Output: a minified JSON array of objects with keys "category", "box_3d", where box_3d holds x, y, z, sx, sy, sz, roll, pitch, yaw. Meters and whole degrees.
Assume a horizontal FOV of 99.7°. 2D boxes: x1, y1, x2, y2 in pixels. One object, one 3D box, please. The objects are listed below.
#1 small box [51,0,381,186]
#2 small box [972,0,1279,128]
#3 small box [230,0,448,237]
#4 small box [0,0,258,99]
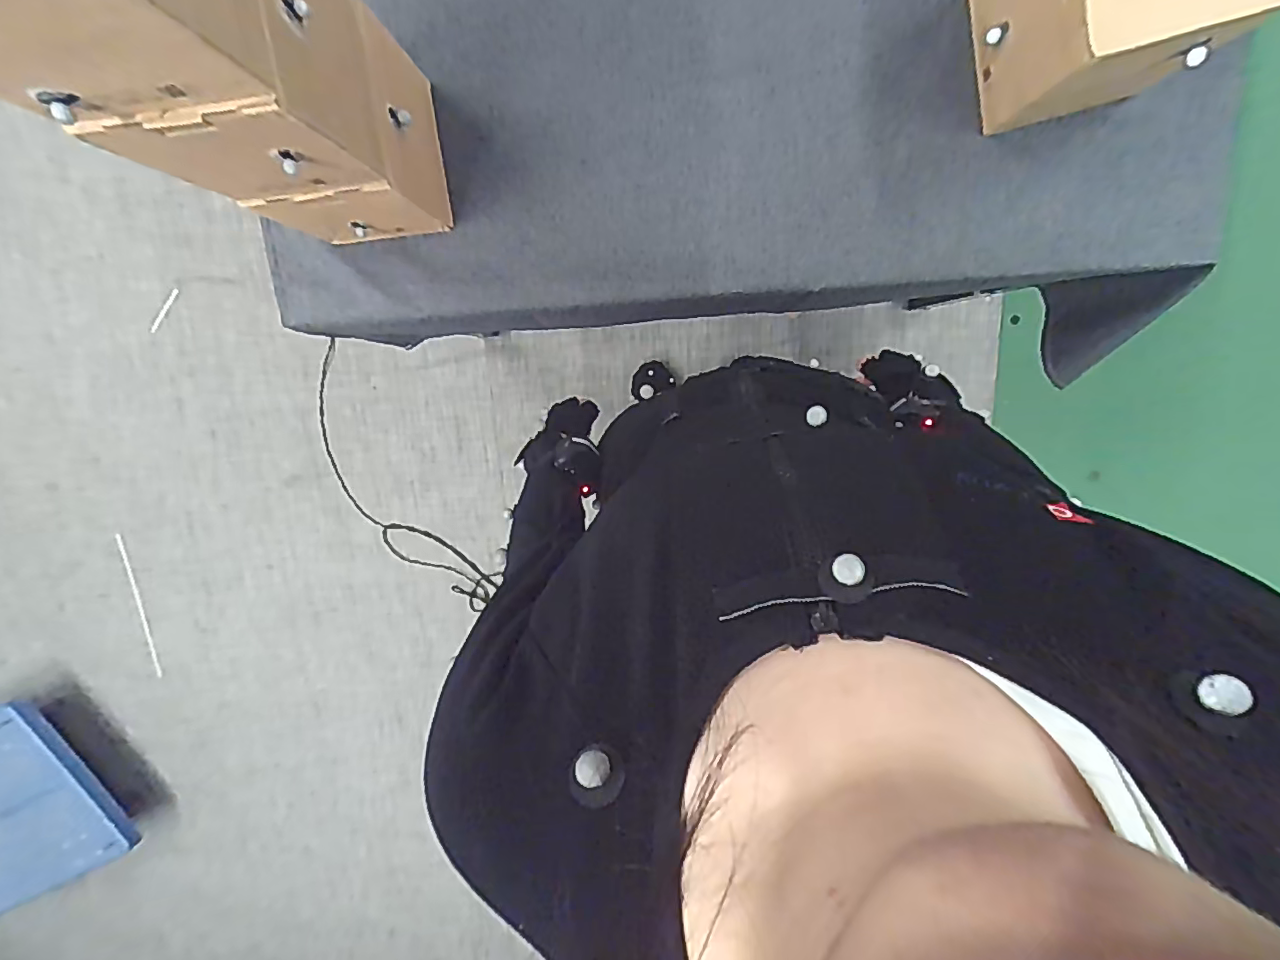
[{"category":"small box","box_3d":[-0.340,-0.360,0.445,0.168,0.176,0.179,-5,102,3]},{"category":"small box","box_3d":[0.471,-0.492,0.540,0.179,0.176,0.168,-13,101,6]},{"category":"small box","box_3d":[-0.336,-0.390,0.605,0.168,0.176,0.179,-5,102,4]},{"category":"small box","box_3d":[-0.347,-0.332,0.283,0.168,0.176,0.179,-6,102,2]}]
